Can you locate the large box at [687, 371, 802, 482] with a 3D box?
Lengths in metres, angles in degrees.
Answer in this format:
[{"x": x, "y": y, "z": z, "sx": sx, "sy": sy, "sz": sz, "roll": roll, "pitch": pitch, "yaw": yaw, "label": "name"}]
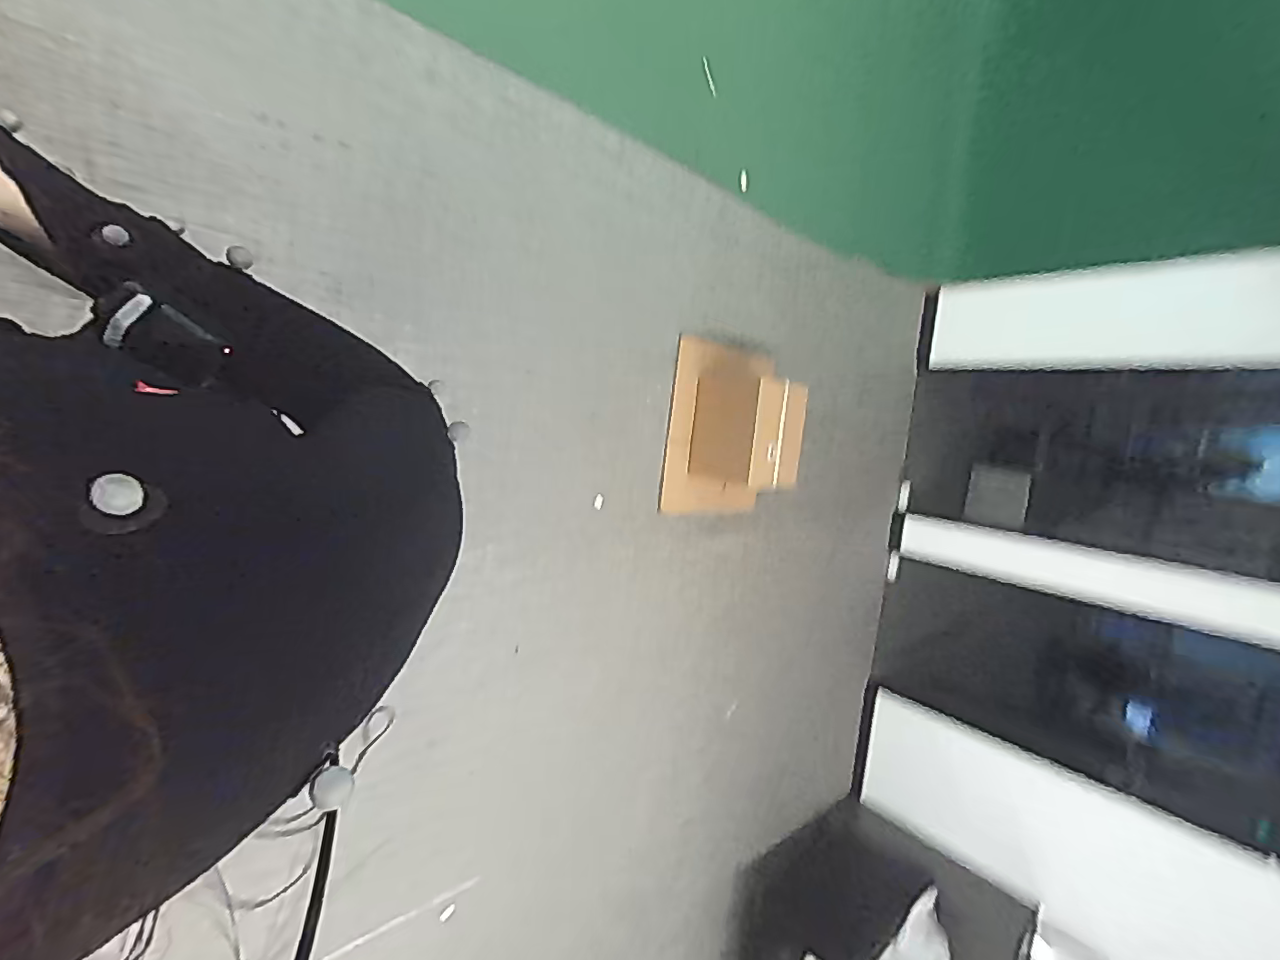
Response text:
[{"x": 0.411, "y": -0.220, "z": 2.160, "sx": 0.320, "sy": 0.320, "sz": 0.408, "roll": -2, "pitch": 101, "yaw": -41, "label": "large box"}]
